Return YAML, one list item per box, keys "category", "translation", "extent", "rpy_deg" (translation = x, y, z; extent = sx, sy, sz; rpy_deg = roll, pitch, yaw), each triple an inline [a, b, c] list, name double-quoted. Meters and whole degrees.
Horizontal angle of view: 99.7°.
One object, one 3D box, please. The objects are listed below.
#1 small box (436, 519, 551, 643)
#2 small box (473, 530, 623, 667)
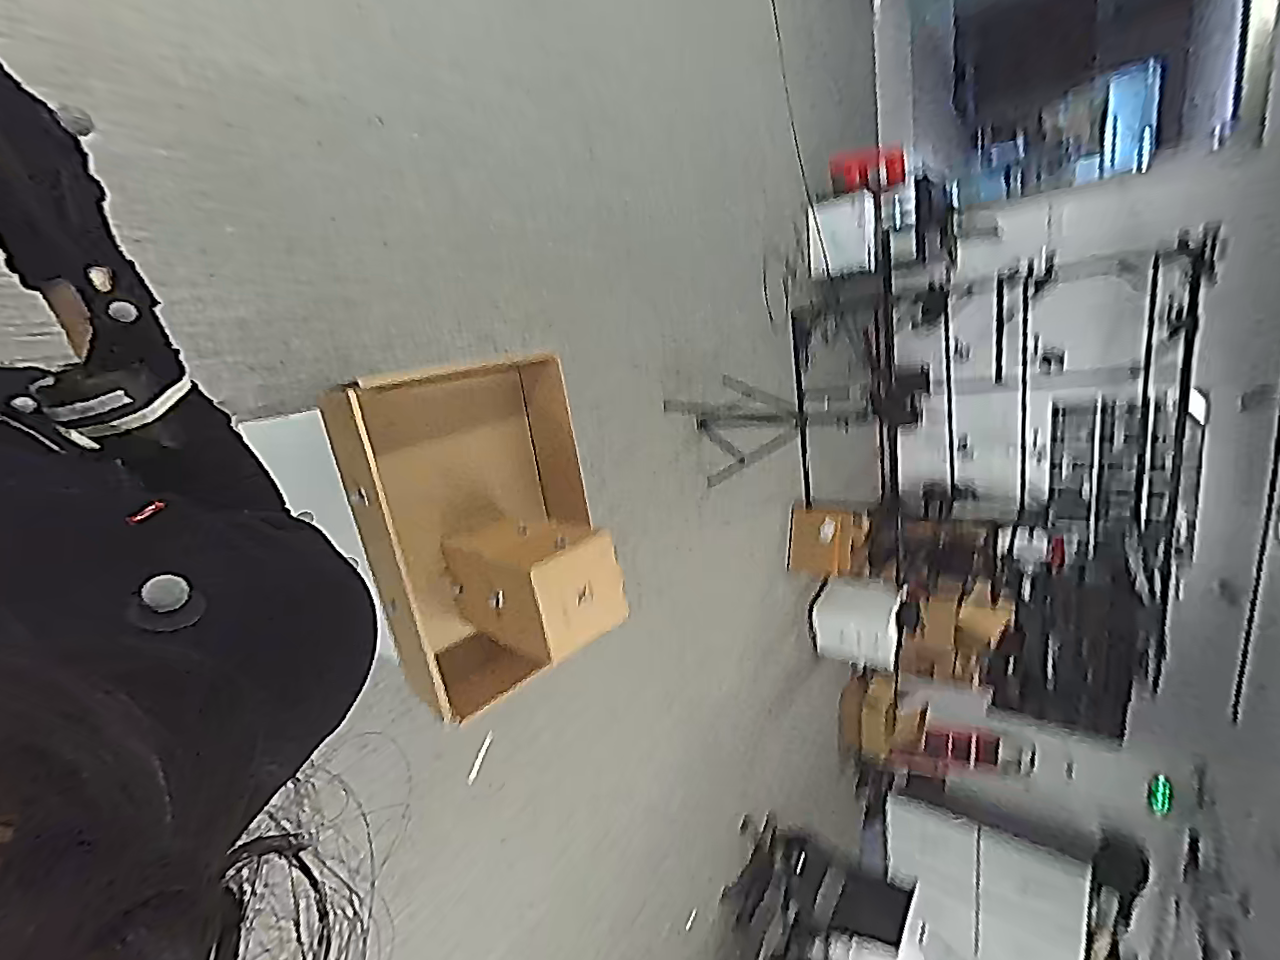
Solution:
- category: "small box"
  translation: [-0.273, 0.188, 1.062]
  extent: [0.168, 0.176, 0.179]
  rpy_deg: [-23, 108, -44]
- category: "small box"
  translation: [-0.160, 0.192, 0.944]
  extent: [0.179, 0.176, 0.168]
  rpy_deg: [-23, 106, -43]
